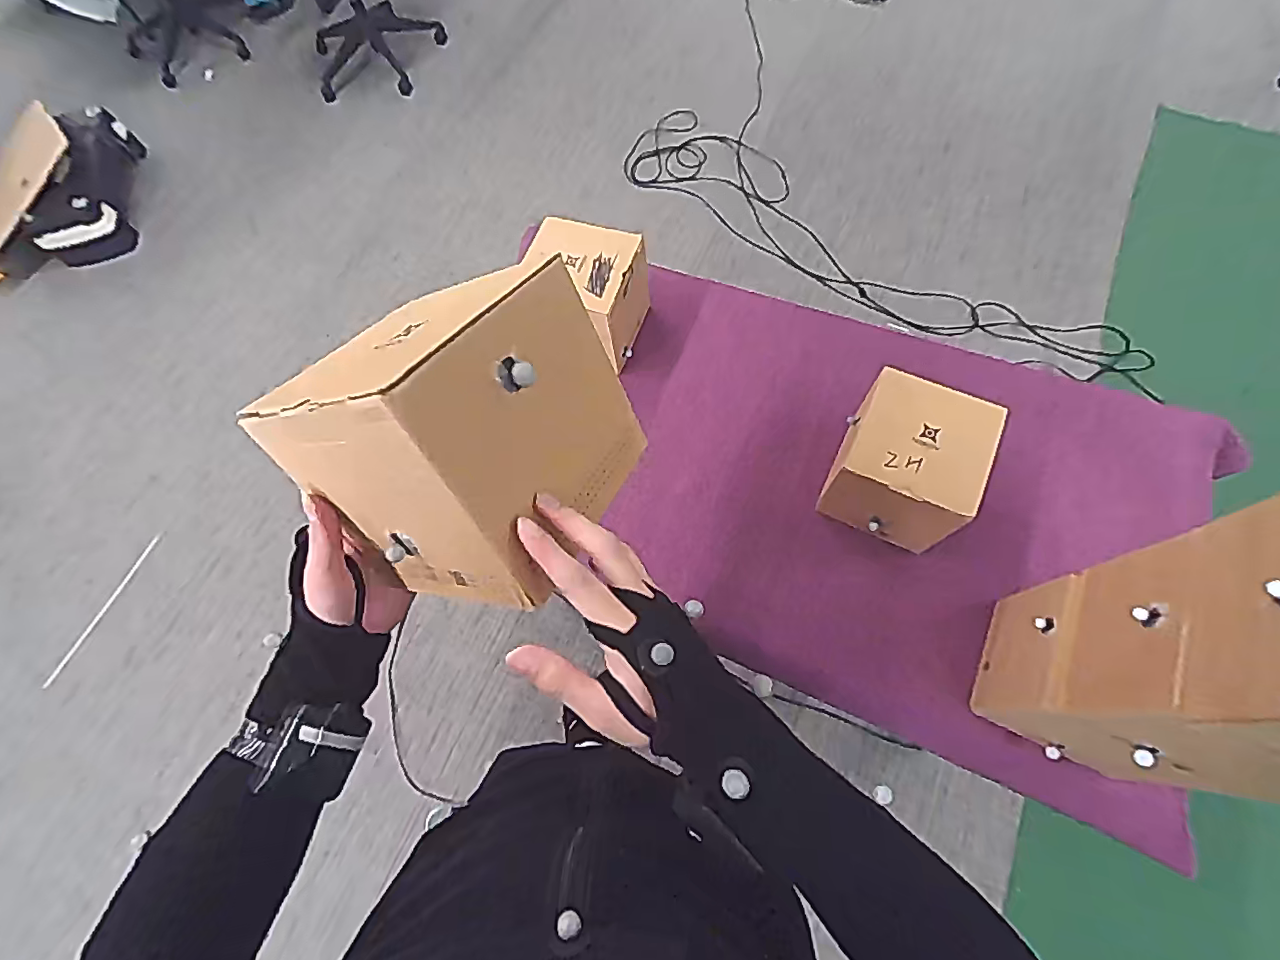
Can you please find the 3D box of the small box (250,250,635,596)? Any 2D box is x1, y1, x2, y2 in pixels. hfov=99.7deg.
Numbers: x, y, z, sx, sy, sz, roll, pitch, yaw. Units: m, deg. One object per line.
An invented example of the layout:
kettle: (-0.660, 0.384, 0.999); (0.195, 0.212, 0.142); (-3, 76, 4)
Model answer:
small box: (-0.122, -0.040, 0.404); (0.168, 0.176, 0.179); (0, 43, 32)

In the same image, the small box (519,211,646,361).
small box: (-0.097, -0.323, 0.933); (0.179, 0.176, 0.168); (17, 71, 11)

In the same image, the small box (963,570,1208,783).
small box: (0.543, 0.235, 0.664); (0.179, 0.176, 0.168); (24, 71, 13)

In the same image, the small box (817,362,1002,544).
small box: (0.376, -0.032, 0.784); (0.168, 0.176, 0.179); (25, 72, 14)
